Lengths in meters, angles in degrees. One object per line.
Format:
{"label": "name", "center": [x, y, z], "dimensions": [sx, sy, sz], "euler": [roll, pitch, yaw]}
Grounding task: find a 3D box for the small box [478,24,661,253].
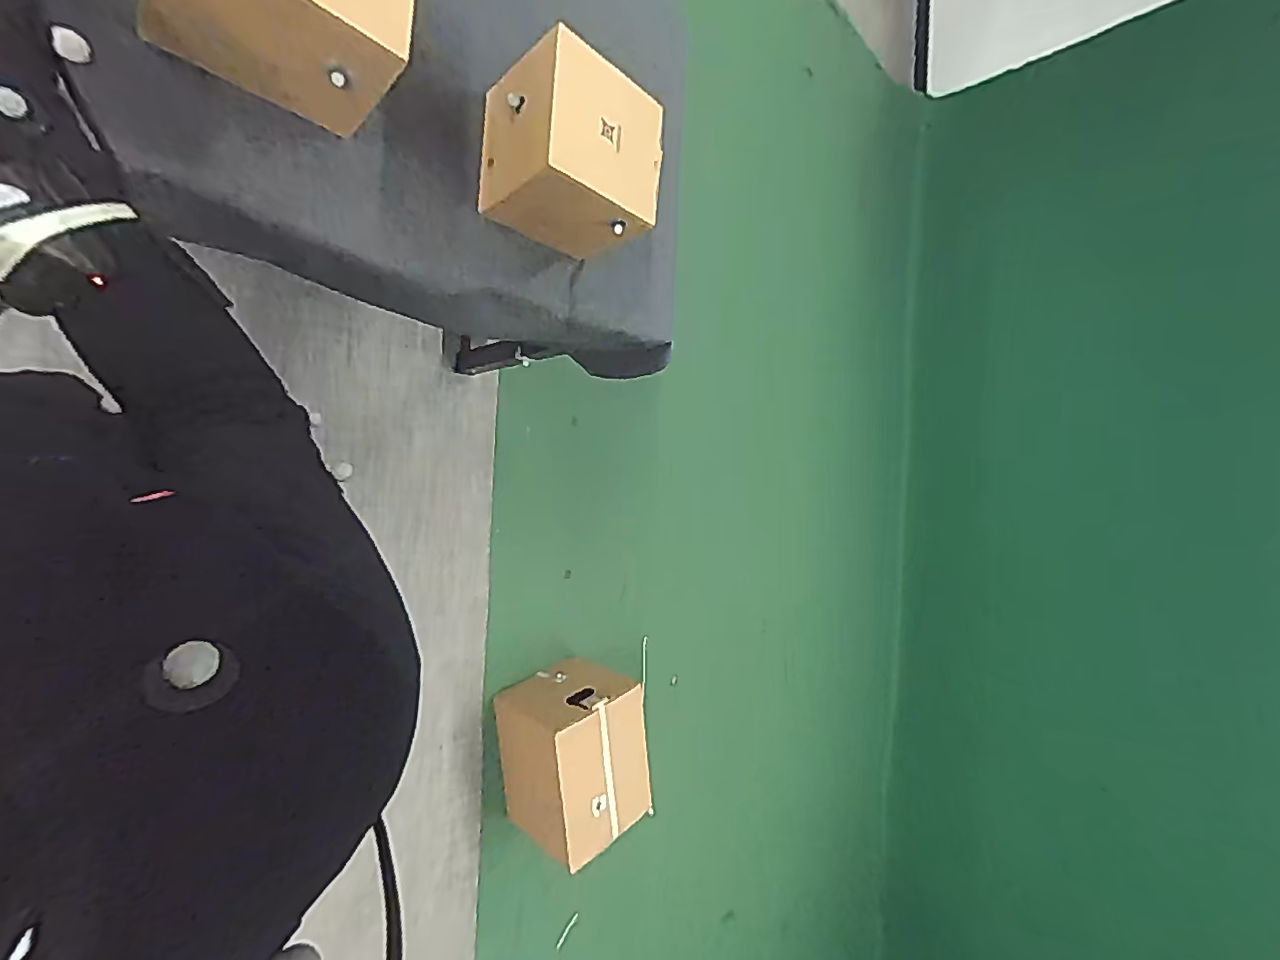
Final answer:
{"label": "small box", "center": [-0.095, -0.423, 0.712], "dimensions": [0.179, 0.176, 0.168], "euler": [5, 88, -46]}
